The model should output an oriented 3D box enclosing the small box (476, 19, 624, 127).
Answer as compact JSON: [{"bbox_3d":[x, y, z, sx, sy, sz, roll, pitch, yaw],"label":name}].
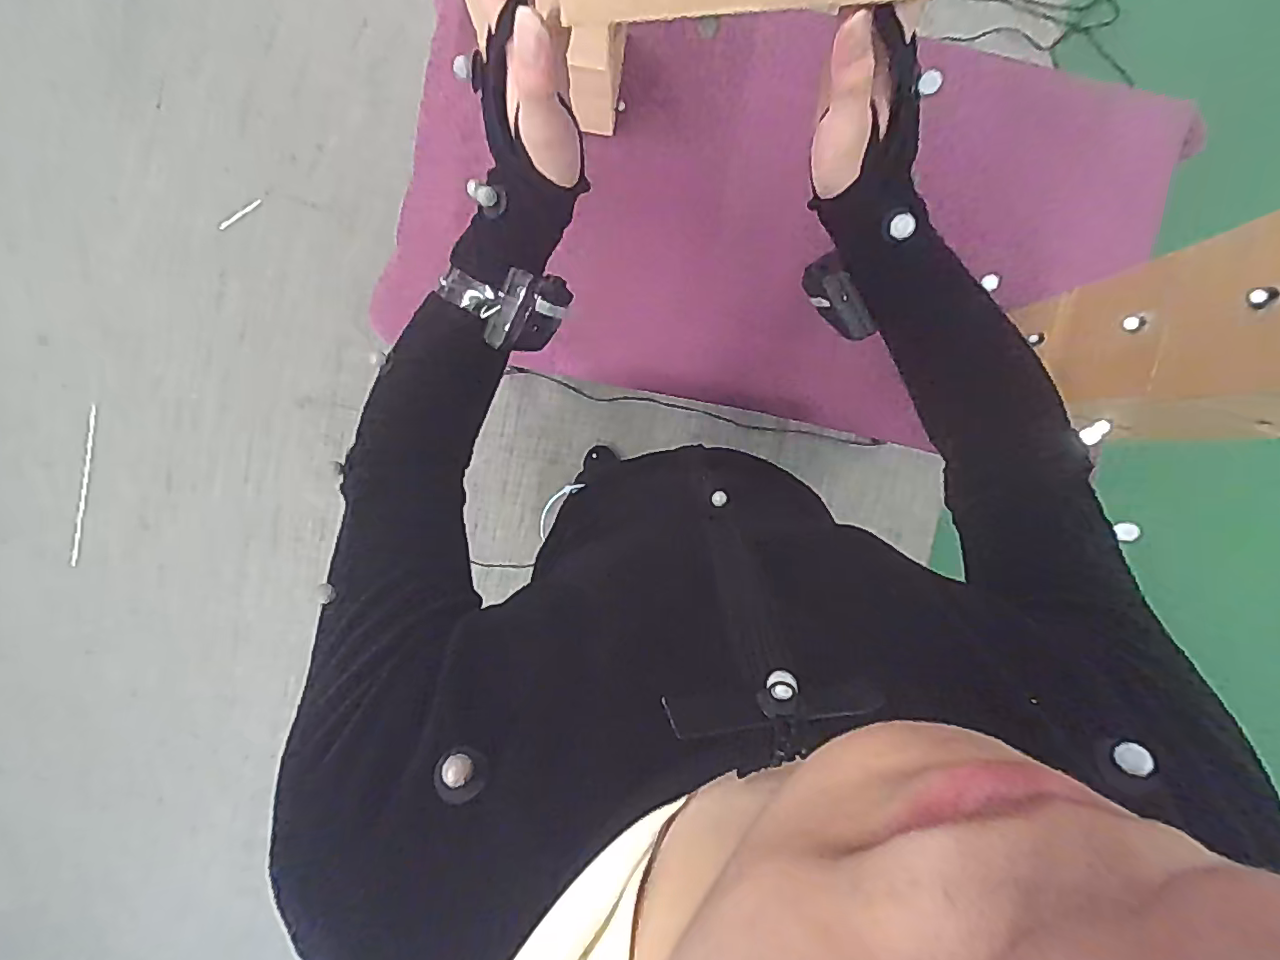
[{"bbox_3d":[-0.117,-0.637,0.767,0.179,0.176,0.168,8,94,-2],"label":"small box"}]

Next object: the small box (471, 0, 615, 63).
[{"bbox_3d":[-0.106,-0.620,0.606,0.168,0.176,0.179,8,93,-3],"label":"small box"}]

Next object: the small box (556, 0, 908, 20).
[{"bbox_3d":[0.041,-0.339,0.254,0.179,0.176,0.168,-4,139,0],"label":"small box"}]

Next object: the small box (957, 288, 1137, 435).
[{"bbox_3d":[0.638,-0.169,0.831,0.179,0.176,0.168,15,92,-3],"label":"small box"}]

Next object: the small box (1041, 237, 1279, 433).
[{"bbox_3d":[0.647,-0.163,0.668,0.168,0.176,0.179,15,93,-1],"label":"small box"}]
